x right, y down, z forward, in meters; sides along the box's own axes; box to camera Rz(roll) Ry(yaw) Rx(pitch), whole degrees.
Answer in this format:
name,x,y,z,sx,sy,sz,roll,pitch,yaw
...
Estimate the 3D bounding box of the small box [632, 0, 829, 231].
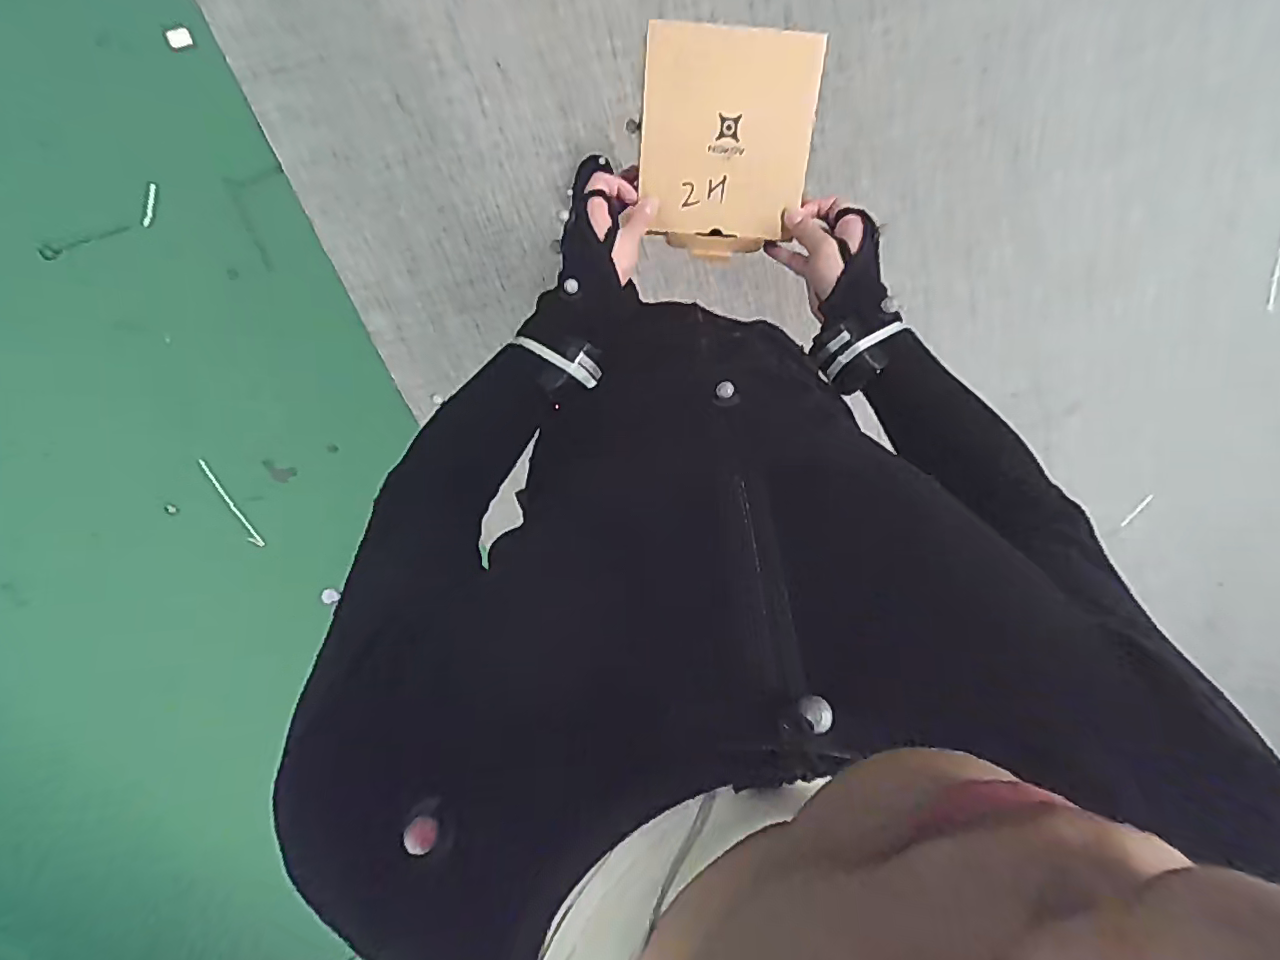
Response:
name,x,y,z,sx,sy,sz,roll,pitch,yaw
small box,0.080,-0.372,0.582,0.168,0.176,0.179,4,114,-2
